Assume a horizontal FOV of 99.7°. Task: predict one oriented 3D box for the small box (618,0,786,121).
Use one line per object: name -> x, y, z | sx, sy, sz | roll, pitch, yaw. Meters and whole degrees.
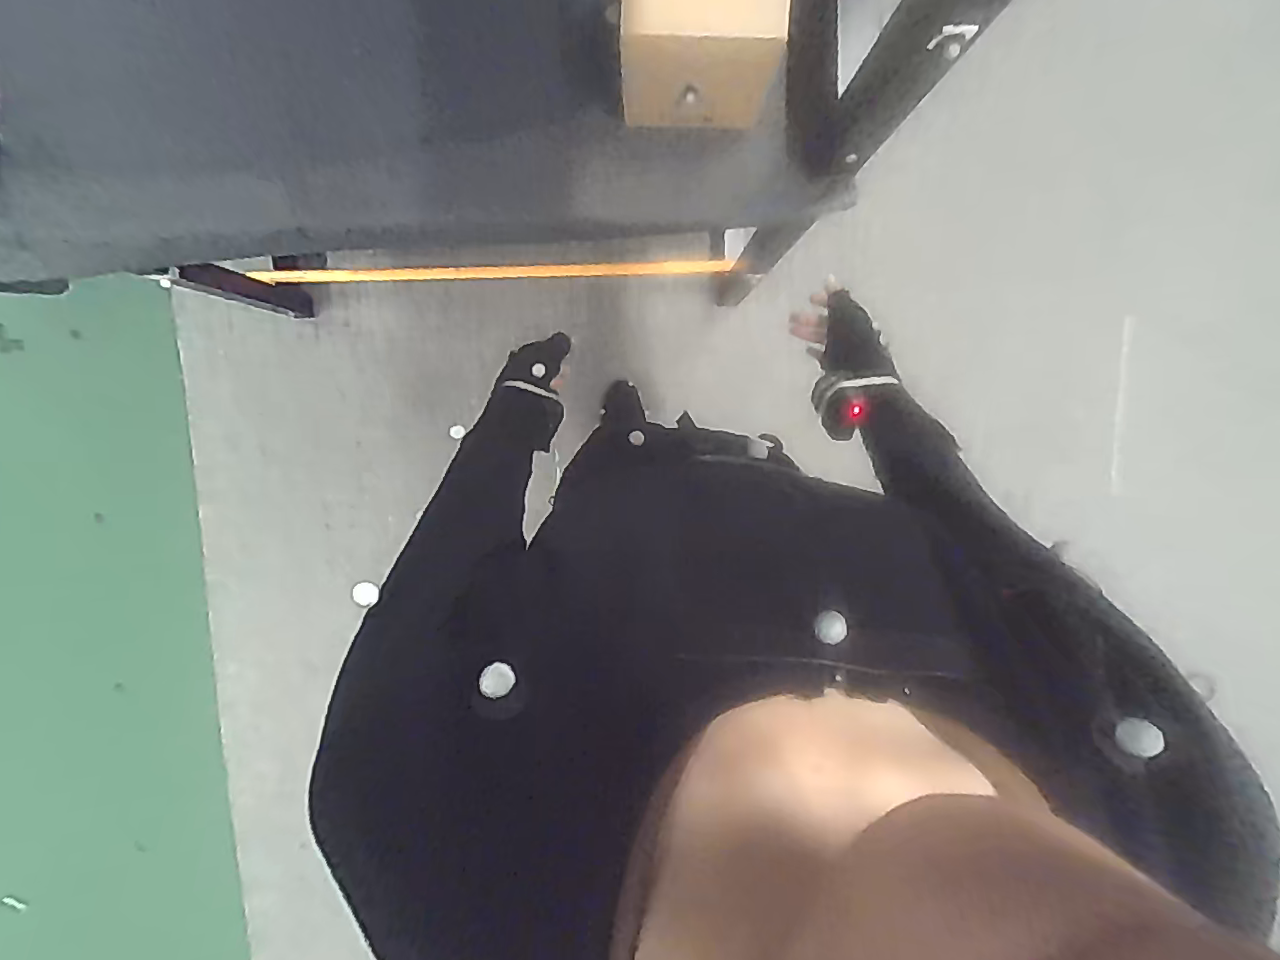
small box -> 0.064, -0.530, 0.597 | 0.168, 0.176, 0.179 | 2, 96, -1
